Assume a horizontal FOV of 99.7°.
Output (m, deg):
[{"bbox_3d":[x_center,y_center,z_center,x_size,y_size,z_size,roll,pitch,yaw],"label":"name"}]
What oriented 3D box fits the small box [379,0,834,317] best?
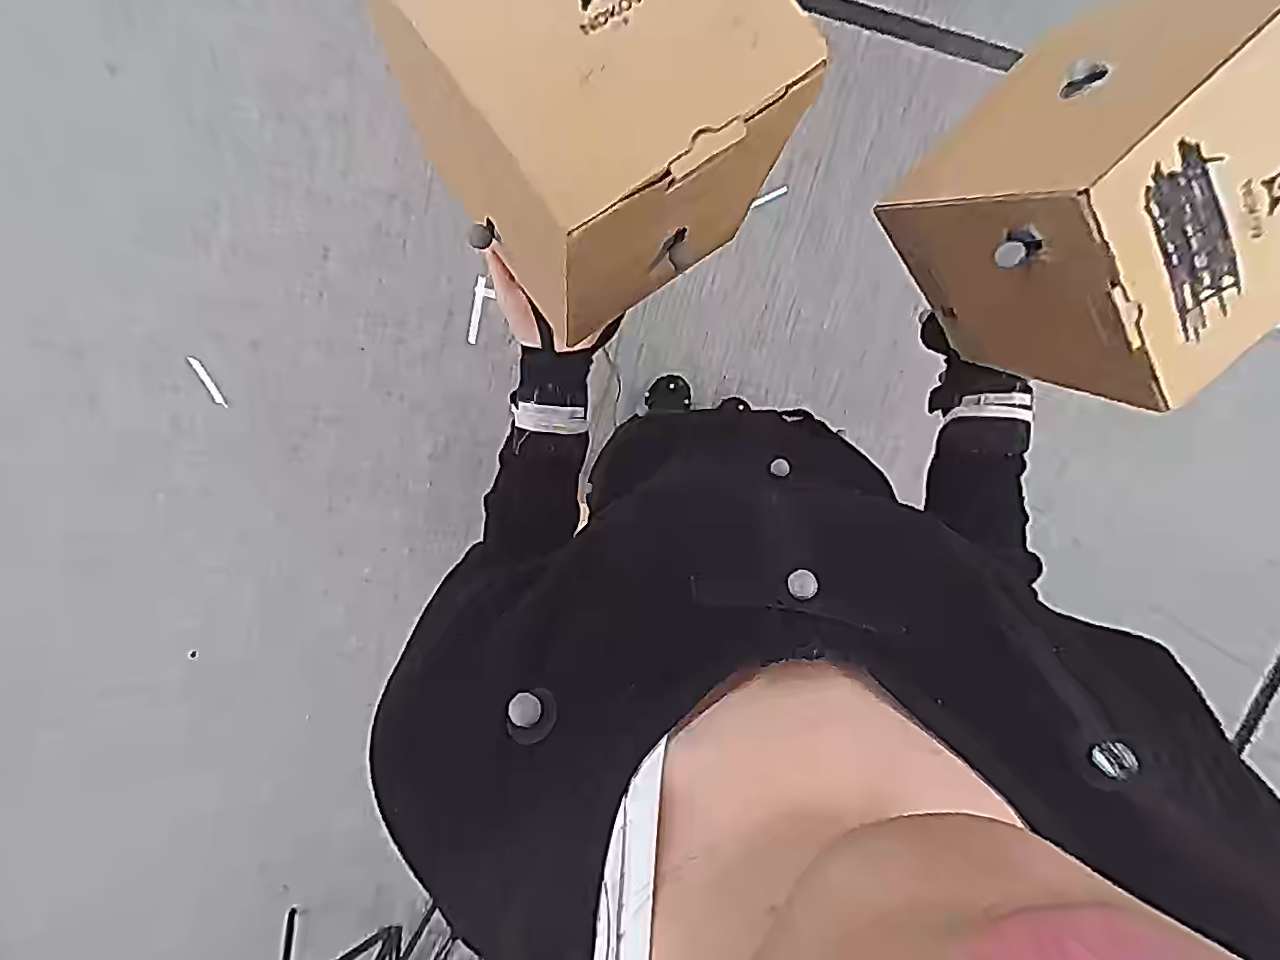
[{"bbox_3d":[-0.026,-0.224,0.334,0.168,0.176,0.179,-37,92,-10],"label":"small box"}]
